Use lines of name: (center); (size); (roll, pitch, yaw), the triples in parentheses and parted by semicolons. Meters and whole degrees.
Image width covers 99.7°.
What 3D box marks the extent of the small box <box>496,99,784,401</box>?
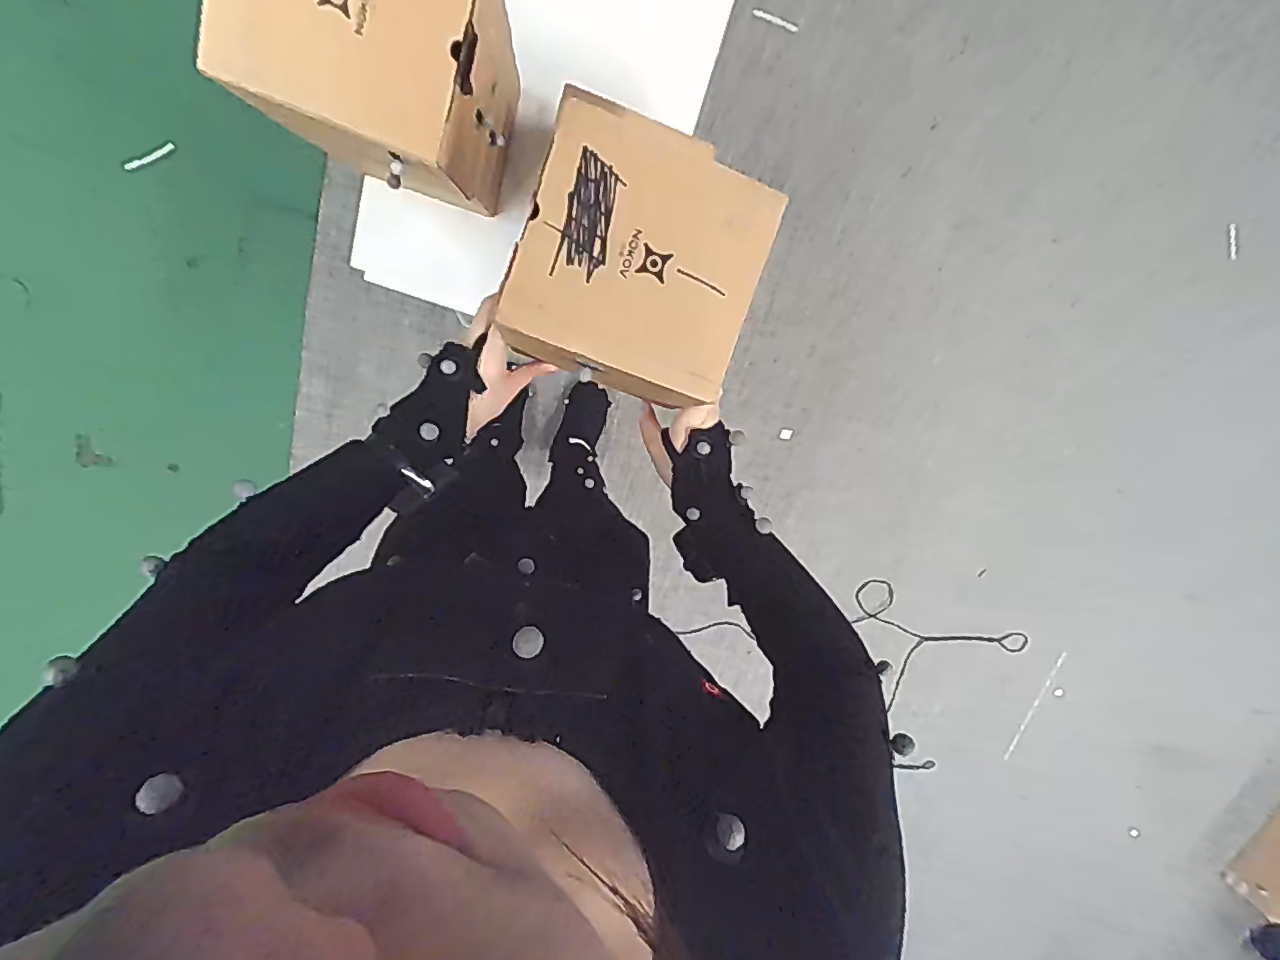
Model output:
small box: (-0.010, -0.174, 0.477); (0.179, 0.176, 0.168); (19, 92, -11)

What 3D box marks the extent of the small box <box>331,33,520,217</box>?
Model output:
small box: (-0.248, -0.425, 0.628); (0.179, 0.176, 0.168); (15, 105, -12)

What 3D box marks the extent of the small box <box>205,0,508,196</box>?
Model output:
small box: (-0.225, -0.375, 0.474); (0.179, 0.176, 0.168); (16, 104, -15)
